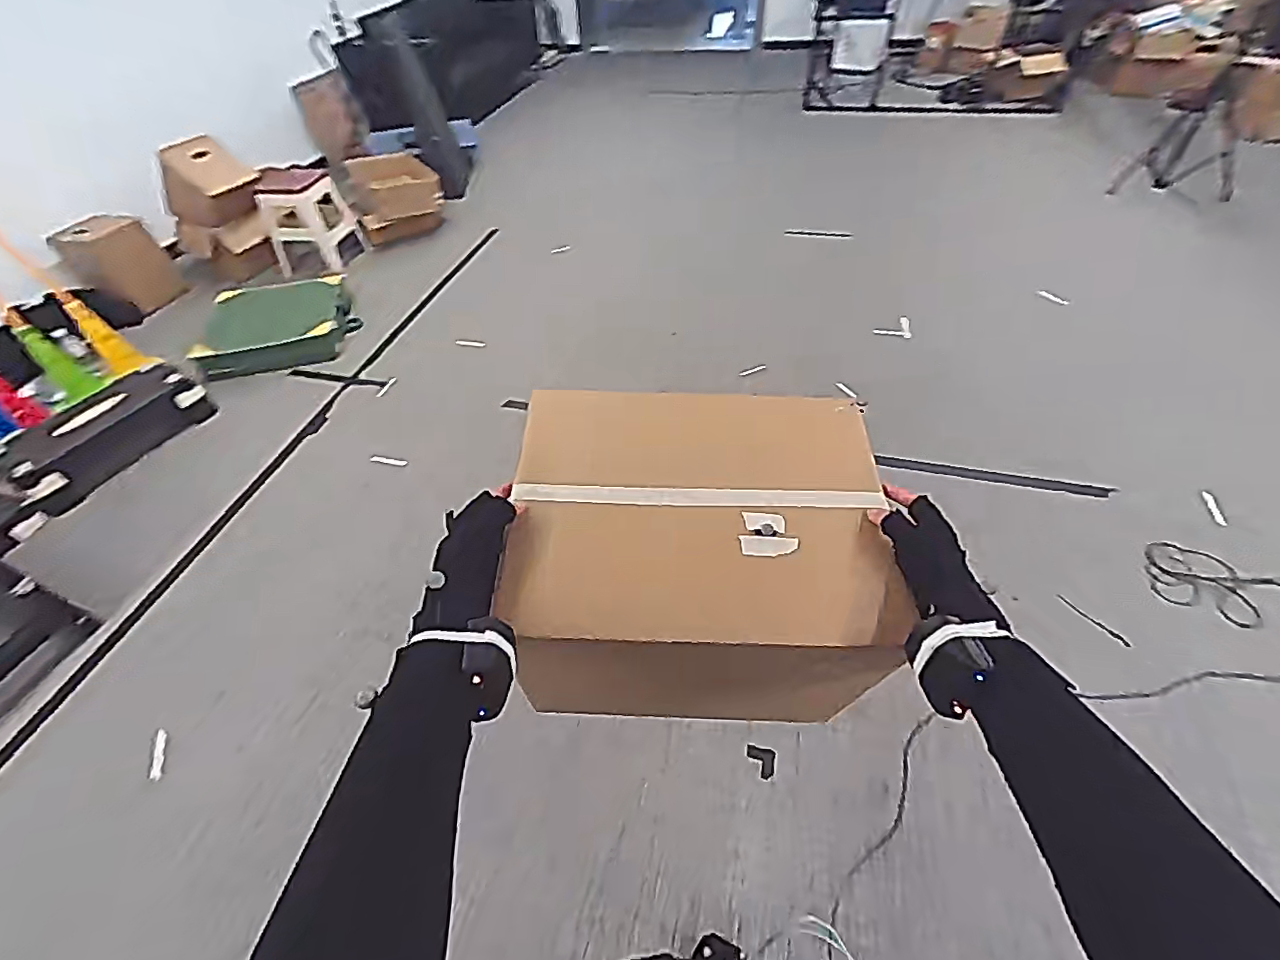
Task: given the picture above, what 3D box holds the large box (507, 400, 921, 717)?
[{"bbox_3d":[0.070,0.114,0.717,0.408,0.320,0.320,2,55,1],"label":"large box"}]
